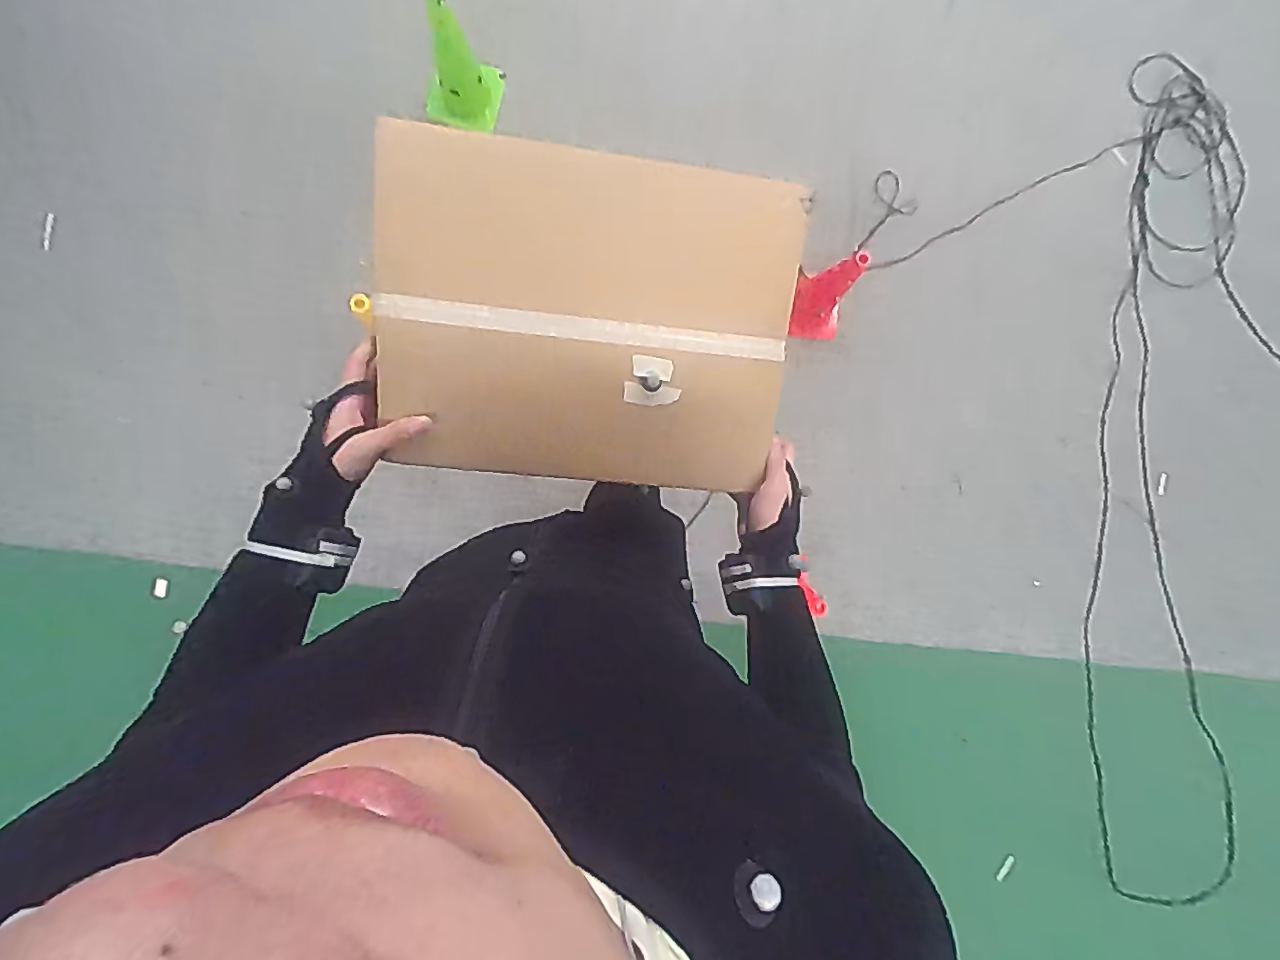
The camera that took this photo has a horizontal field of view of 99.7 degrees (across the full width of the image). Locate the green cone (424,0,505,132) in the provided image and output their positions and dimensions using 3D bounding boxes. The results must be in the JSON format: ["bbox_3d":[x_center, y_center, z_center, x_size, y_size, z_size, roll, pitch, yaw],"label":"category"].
[{"bbox_3d":[-0.501,-1.139,1.418,0.200,0.368,0.202,14,90,-5],"label":"green cone"}]

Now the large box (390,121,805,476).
[{"bbox_3d":[-0.063,-0.200,0.691,0.408,0.320,0.320,5,105,-8],"label":"large box"}]

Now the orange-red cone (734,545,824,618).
[{"bbox_3d":[0.419,0.315,1.497,0.199,0.360,0.198,15,90,-6],"label":"orange-red cone"}]
